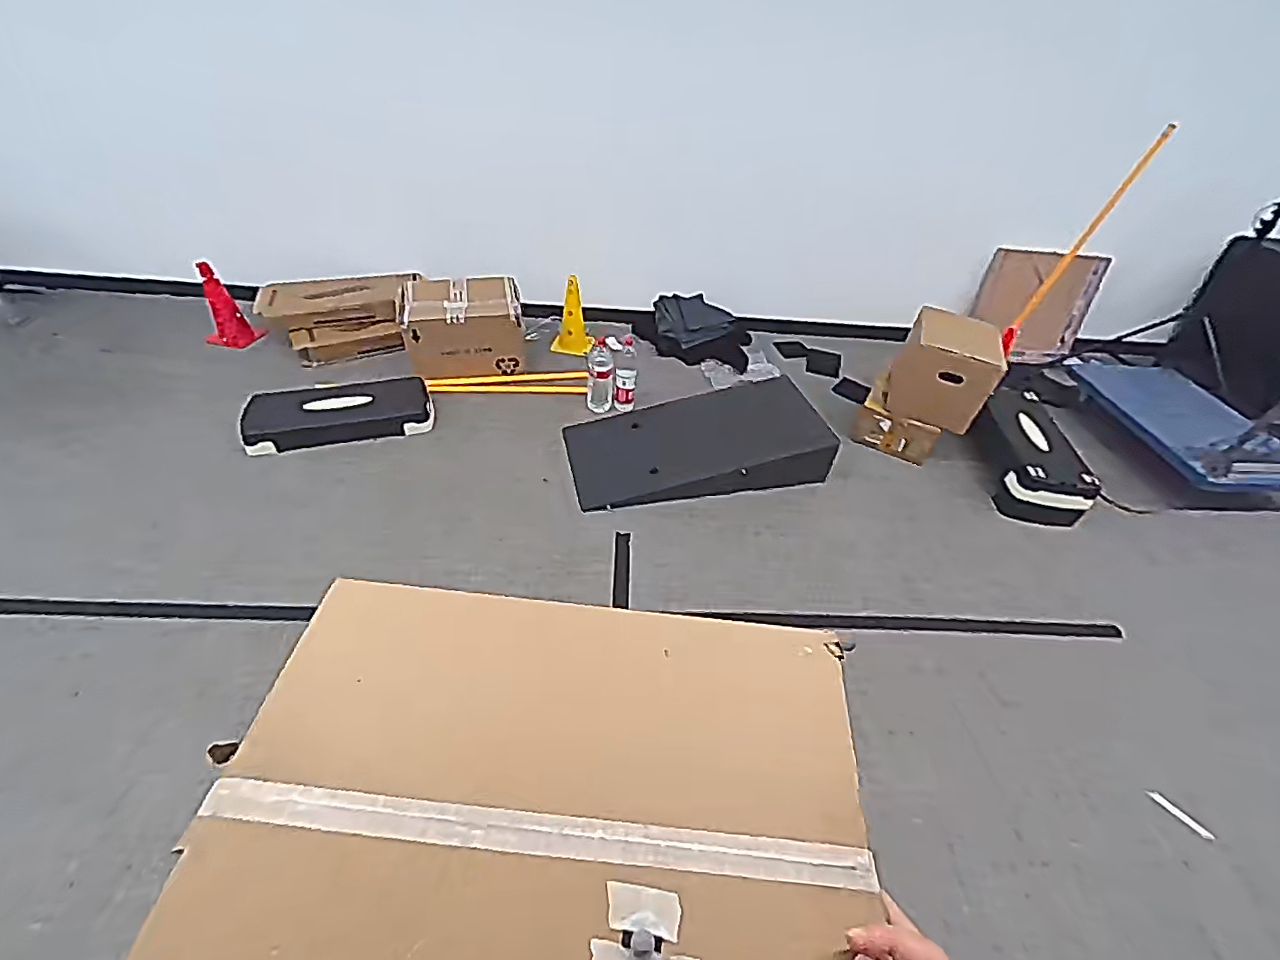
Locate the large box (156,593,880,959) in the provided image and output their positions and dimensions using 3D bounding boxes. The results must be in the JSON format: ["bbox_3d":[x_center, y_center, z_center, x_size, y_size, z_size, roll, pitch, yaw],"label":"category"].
[{"bbox_3d":[-0.067,0.321,0.449,0.408,0.320,0.320,6,48,1],"label":"large box"}]
